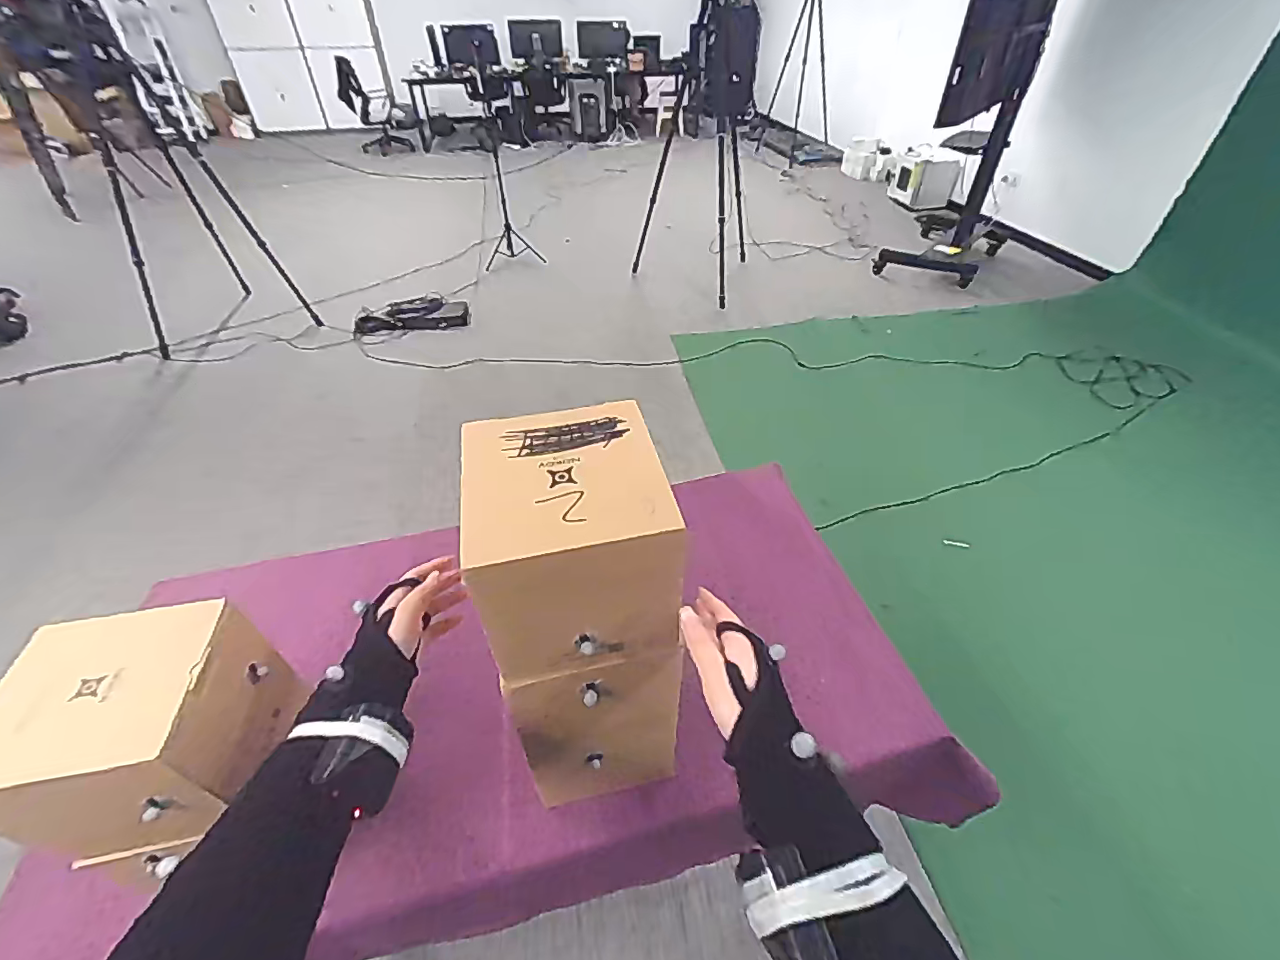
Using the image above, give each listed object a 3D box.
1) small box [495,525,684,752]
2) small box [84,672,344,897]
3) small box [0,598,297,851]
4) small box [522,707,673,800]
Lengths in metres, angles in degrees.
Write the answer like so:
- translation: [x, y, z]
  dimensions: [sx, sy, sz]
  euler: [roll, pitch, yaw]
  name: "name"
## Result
- translation: [-0.059, 0.178, 0.612]
  dimensions: [0.179, 0.176, 0.168]
  euler: [-10, 43, -9]
  name: "small box"
- translation: [-0.486, 0.367, 0.657]
  dimensions: [0.168, 0.176, 0.179]
  euler: [-9, 42, -8]
  name: "small box"
- translation: [-0.487, 0.246, 0.547]
  dimensions: [0.179, 0.176, 0.168]
  euler: [-8, 43, -7]
  name: "small box"
- translation: [-0.059, 0.299, 0.722]
  dimensions: [0.179, 0.176, 0.168]
  euler: [-9, 43, -9]
  name: "small box"
